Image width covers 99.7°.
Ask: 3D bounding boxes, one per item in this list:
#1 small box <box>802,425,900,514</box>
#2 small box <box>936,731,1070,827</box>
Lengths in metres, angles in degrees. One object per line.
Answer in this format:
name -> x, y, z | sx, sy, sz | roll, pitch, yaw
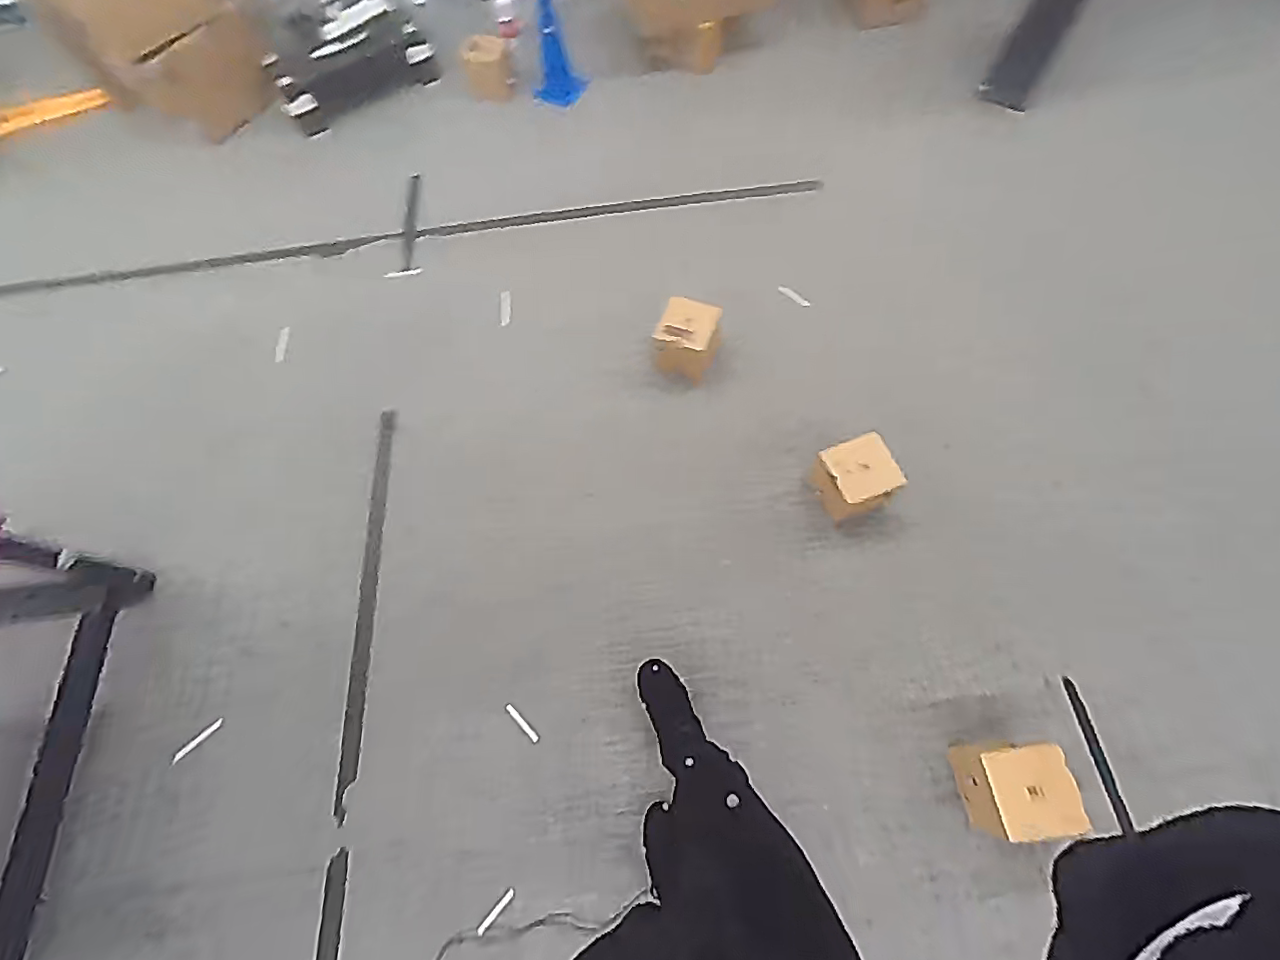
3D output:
small box -> 0.583, -0.025, 1.519 | 0.179, 0.176, 0.168 | -19, 68, -5
small box -> 0.806, 0.671, 1.229 | 0.179, 0.176, 0.168 | -7, 67, -1
